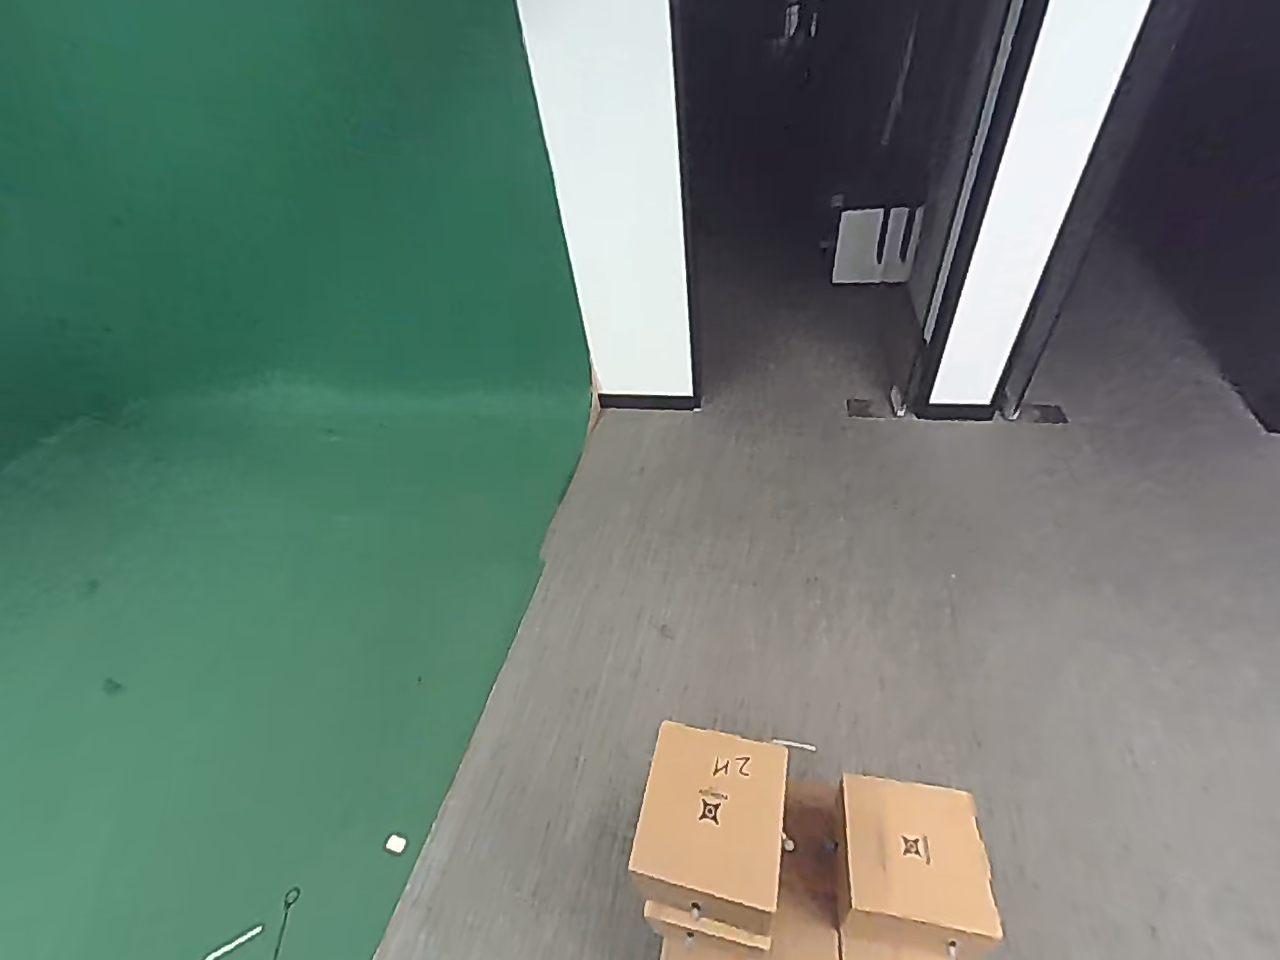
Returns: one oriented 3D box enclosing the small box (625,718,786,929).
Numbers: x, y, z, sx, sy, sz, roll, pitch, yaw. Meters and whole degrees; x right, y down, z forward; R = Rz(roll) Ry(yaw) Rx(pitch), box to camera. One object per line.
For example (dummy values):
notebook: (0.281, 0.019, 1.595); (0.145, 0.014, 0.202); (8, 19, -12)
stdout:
small box: (0.091, 0.445, 0.701); (0.168, 0.176, 0.179); (8, 46, 15)

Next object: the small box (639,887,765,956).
small box: (0.106, 0.572, 0.805); (0.168, 0.176, 0.179); (6, 45, 14)

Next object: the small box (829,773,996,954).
small box: (0.375, 0.554, 0.781); (0.179, 0.176, 0.168); (2, 43, 15)
